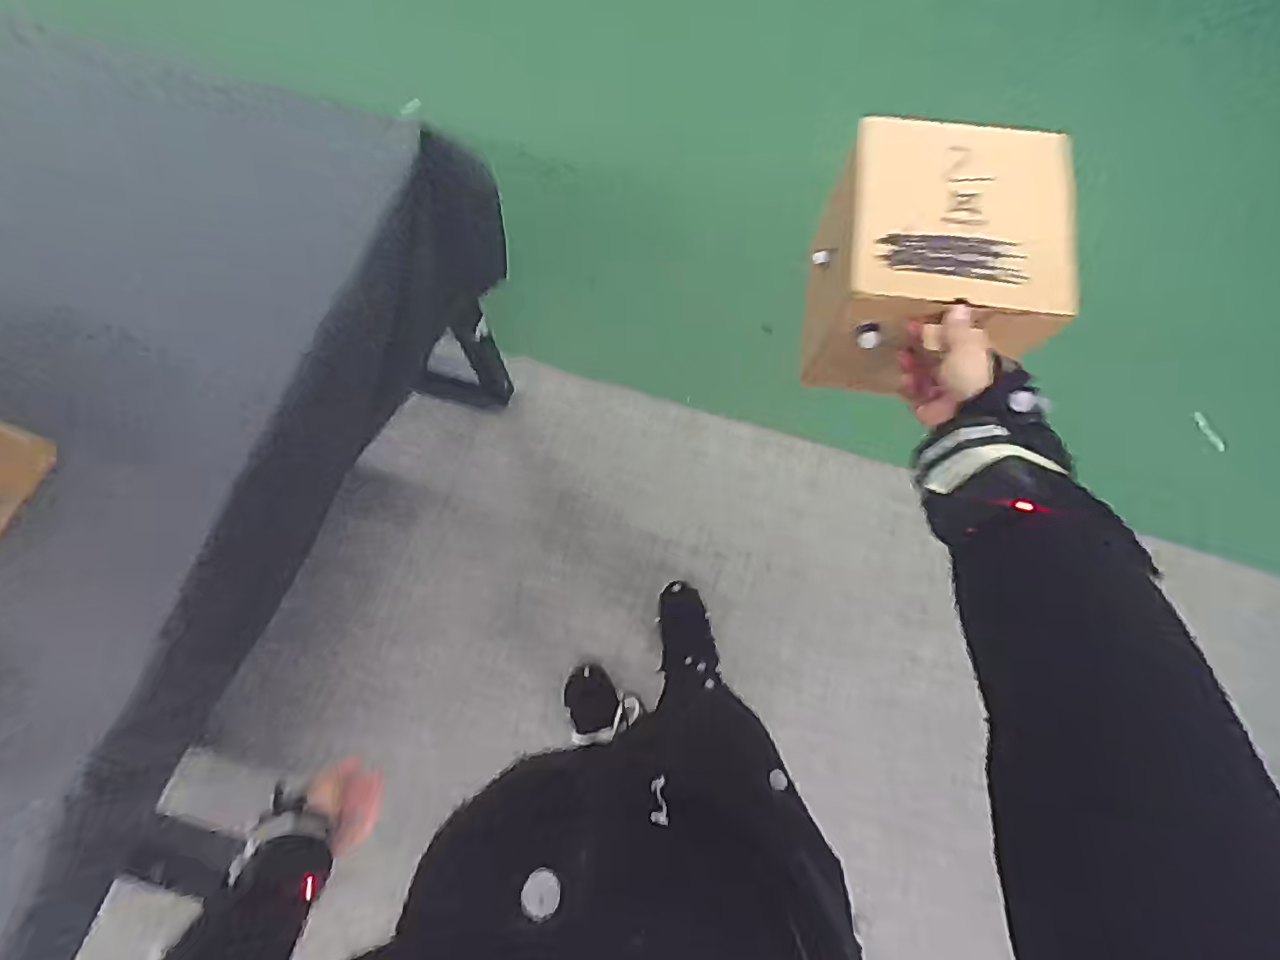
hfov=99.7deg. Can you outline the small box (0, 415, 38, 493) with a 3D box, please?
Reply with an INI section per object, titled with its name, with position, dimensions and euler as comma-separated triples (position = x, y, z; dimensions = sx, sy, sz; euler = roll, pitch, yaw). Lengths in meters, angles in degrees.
[small box]
position = -0.691, -0.029, 0.439
dimensions = 0.179, 0.176, 0.168
euler = 23, 73, 3
